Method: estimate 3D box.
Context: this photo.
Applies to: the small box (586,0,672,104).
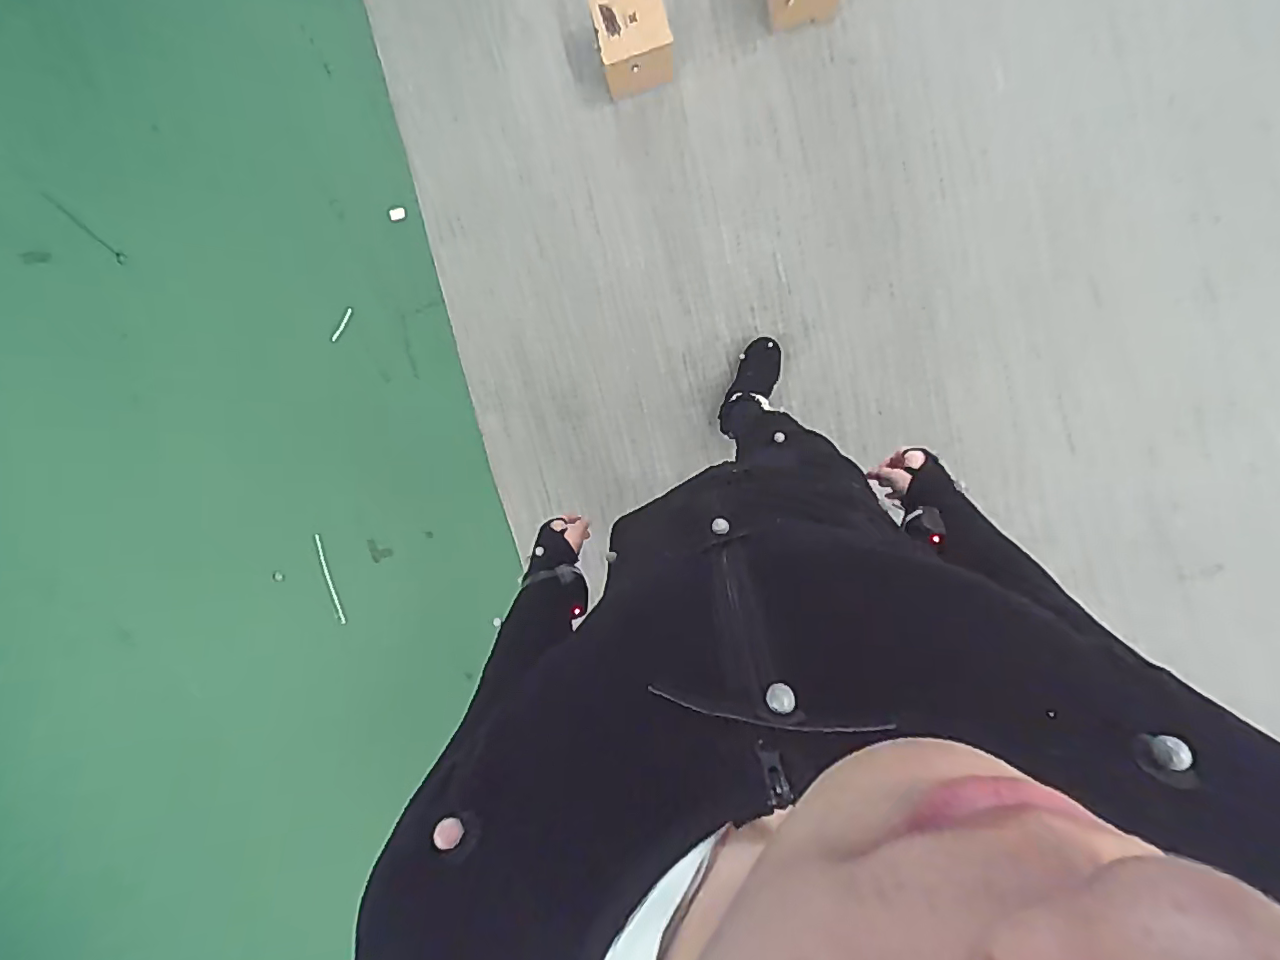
[{"bbox_3d":[-0.021,-1.117,1.392,0.179,0.176,0.168,-14,96,7],"label":"small box"}]
